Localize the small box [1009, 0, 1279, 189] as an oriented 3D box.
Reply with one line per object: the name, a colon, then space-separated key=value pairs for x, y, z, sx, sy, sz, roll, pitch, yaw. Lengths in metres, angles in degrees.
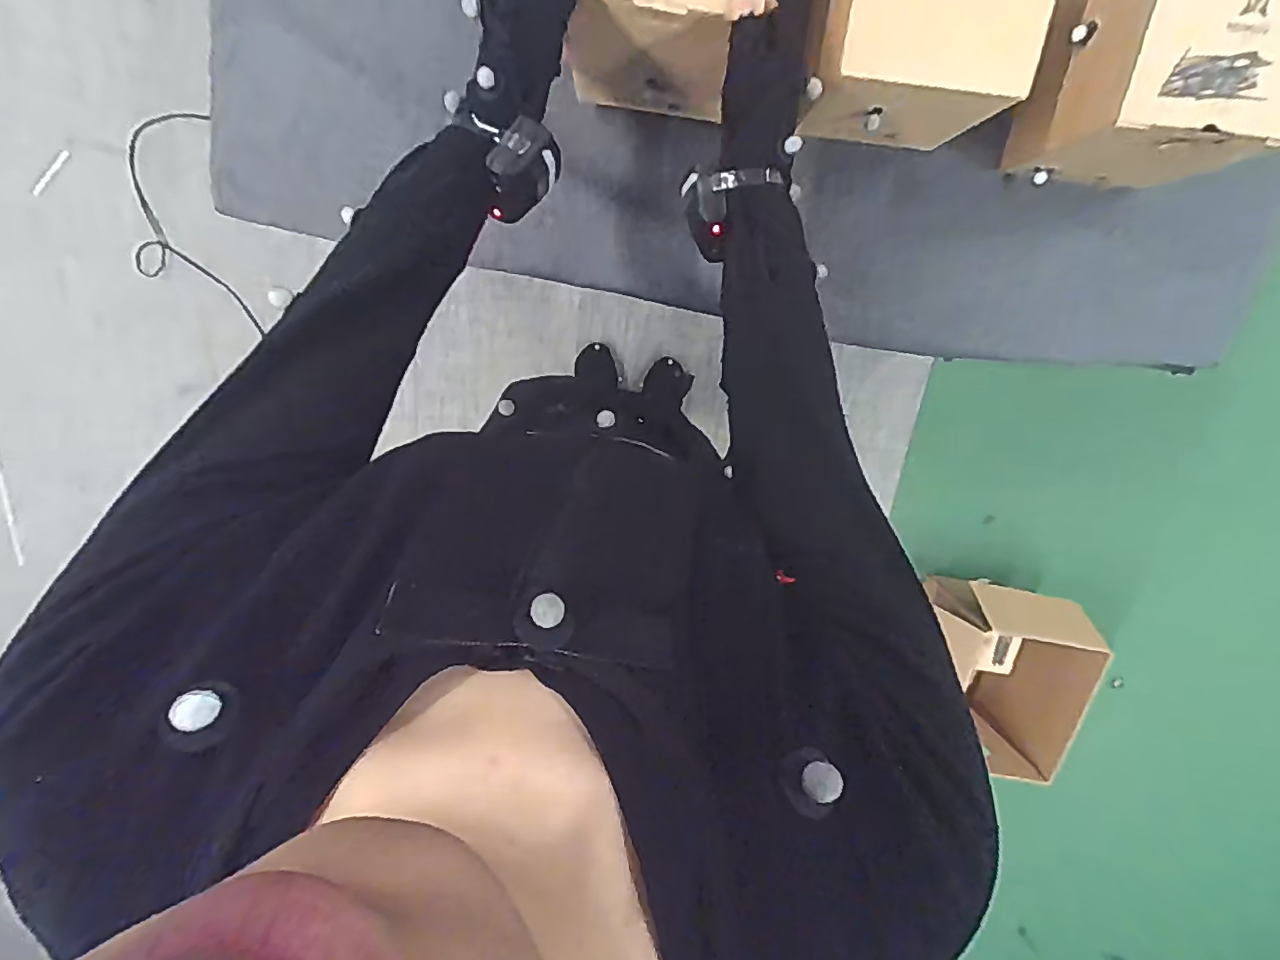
small box: x=0.497 y=-0.394 z=0.514 sx=0.168 sy=0.176 sz=0.179 roll=6 pitch=106 yaw=-1

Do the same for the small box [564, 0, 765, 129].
small box: x=0.024 y=-0.462 z=0.489 sx=0.168 sy=0.176 sz=0.179 roll=8 pitch=99 yaw=-2

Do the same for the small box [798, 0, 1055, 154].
small box: x=0.259 y=-0.432 z=0.511 sx=0.168 sy=0.176 sz=0.179 roll=6 pitch=106 yaw=-1
